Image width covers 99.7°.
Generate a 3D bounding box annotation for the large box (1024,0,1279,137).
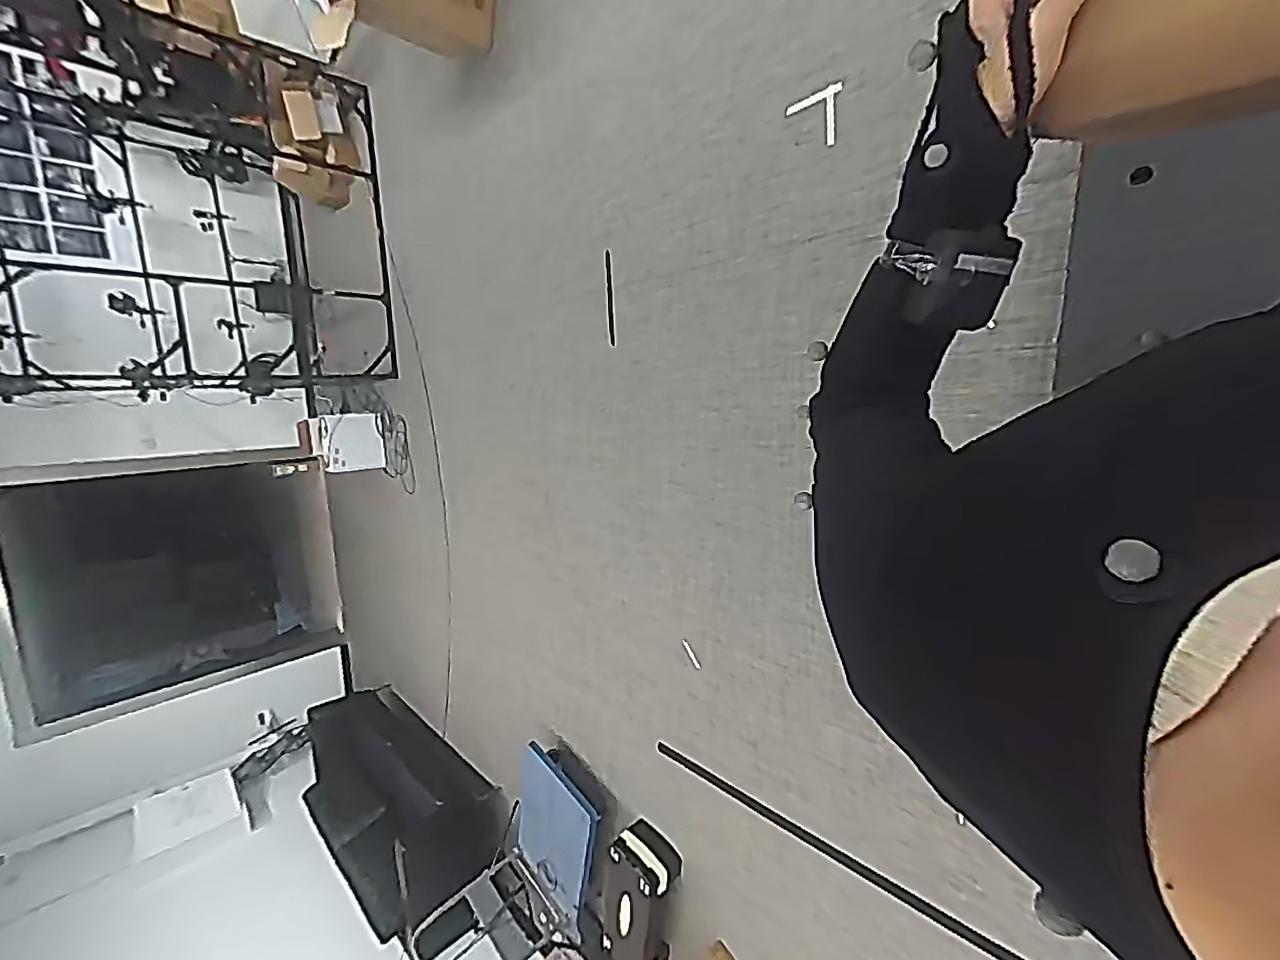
[{"bbox_3d":[0.456,-0.383,0.239,0.408,0.320,0.320,14,122,43],"label":"large box"}]
